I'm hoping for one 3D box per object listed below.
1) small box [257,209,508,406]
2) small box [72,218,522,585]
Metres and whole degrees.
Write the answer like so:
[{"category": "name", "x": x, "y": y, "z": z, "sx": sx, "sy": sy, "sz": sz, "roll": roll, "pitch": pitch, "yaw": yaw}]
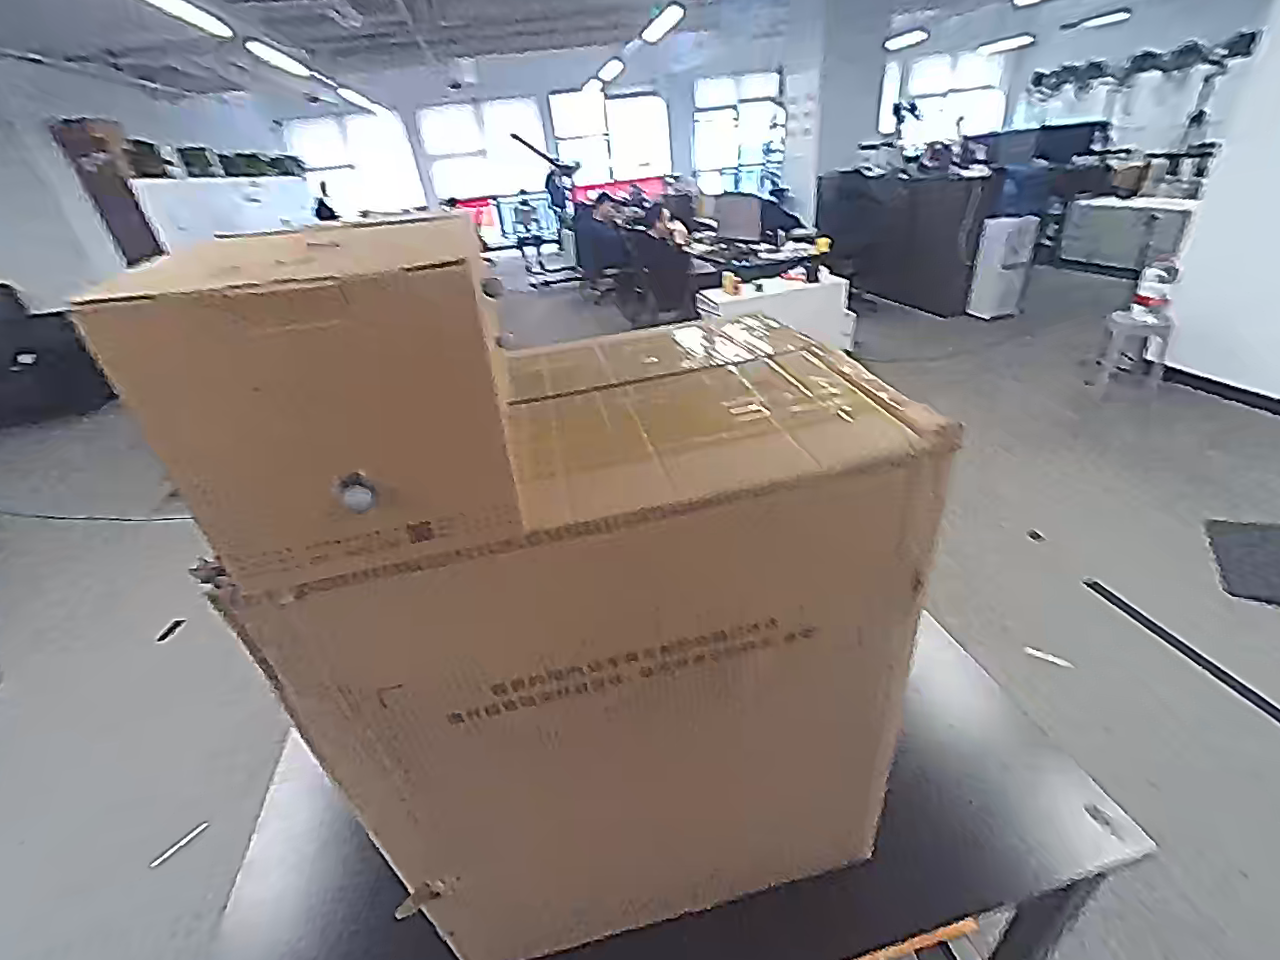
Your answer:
[{"category": "small box", "x": -0.229, "y": -0.148, "z": 0.503, "sx": 0.179, "sy": 0.176, "sz": 0.168, "roll": -10, "pitch": 30, "yaw": -8}, {"category": "small box", "x": -0.178, "y": -0.062, "z": 0.350, "sx": 0.168, "sy": 0.176, "sz": 0.179, "roll": -12, "pitch": 34, "yaw": -12}]
